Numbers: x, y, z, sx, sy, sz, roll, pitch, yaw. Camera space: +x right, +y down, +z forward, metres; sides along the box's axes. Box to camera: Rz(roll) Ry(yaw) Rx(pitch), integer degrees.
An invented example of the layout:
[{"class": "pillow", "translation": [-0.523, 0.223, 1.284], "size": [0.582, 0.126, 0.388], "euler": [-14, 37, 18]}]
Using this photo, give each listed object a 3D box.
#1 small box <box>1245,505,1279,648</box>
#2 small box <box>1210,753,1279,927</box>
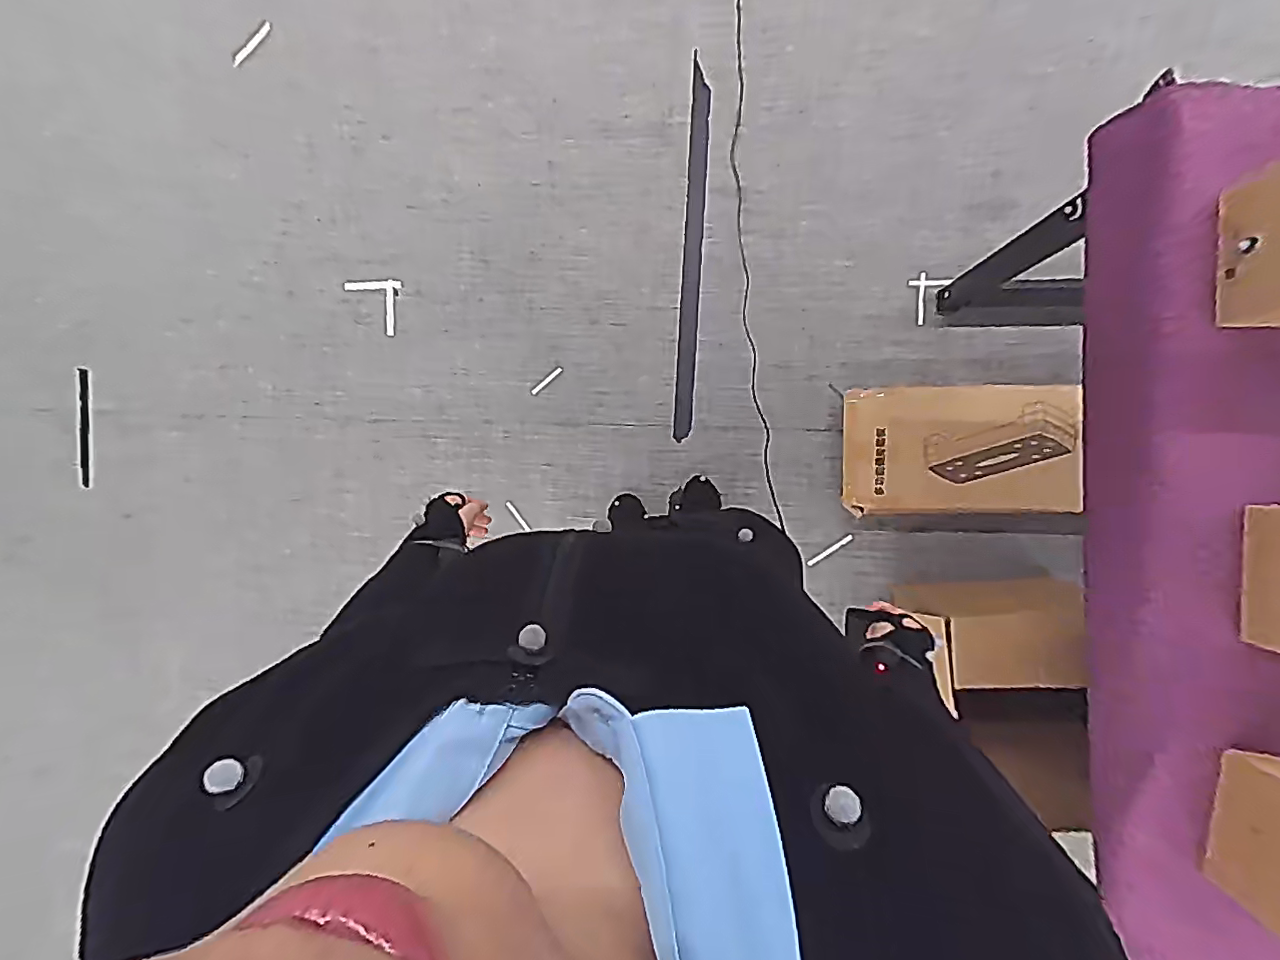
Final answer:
[{"class": "small box", "translation": [0.839, 0.124, 0.596], "size": [0.168, 0.176, 0.179], "euler": [0, 92, 3]}, {"class": "small box", "translation": [0.814, 0.441, 0.610], "size": [0.168, 0.176, 0.179], "euler": [7, 93, 5]}]
